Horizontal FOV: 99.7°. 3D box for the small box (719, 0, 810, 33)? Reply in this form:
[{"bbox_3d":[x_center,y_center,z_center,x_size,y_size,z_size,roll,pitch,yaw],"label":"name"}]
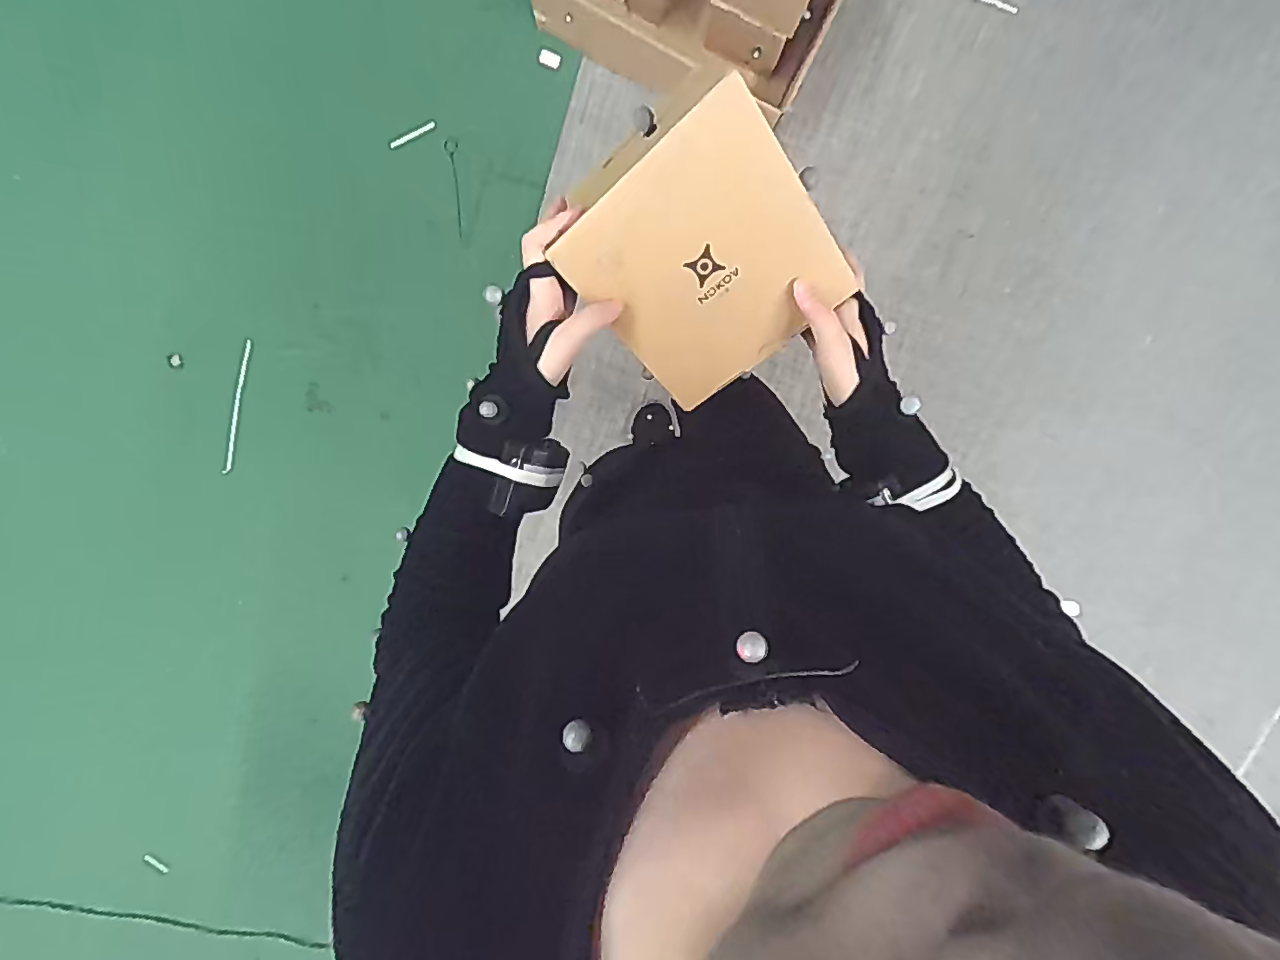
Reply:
[{"bbox_3d":[0.255,-0.961,0.972,0.179,0.176,0.168,24,102,-4],"label":"small box"}]
